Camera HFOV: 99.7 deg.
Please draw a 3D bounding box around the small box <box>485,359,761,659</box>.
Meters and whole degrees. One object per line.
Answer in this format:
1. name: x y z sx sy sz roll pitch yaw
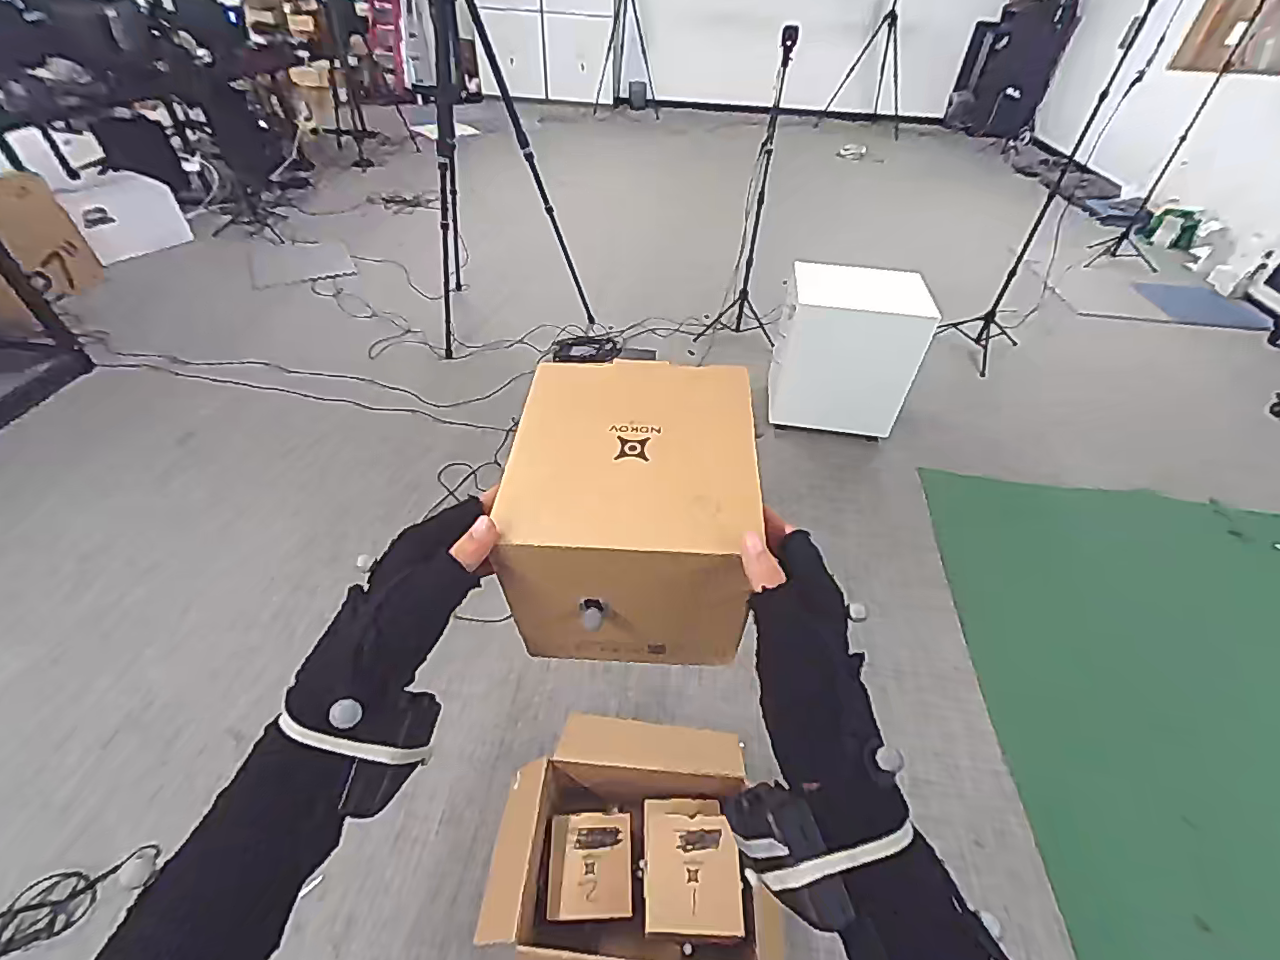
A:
1. small box: -0.003 0.025 0.424 0.168 0.176 0.179 2 48 3
